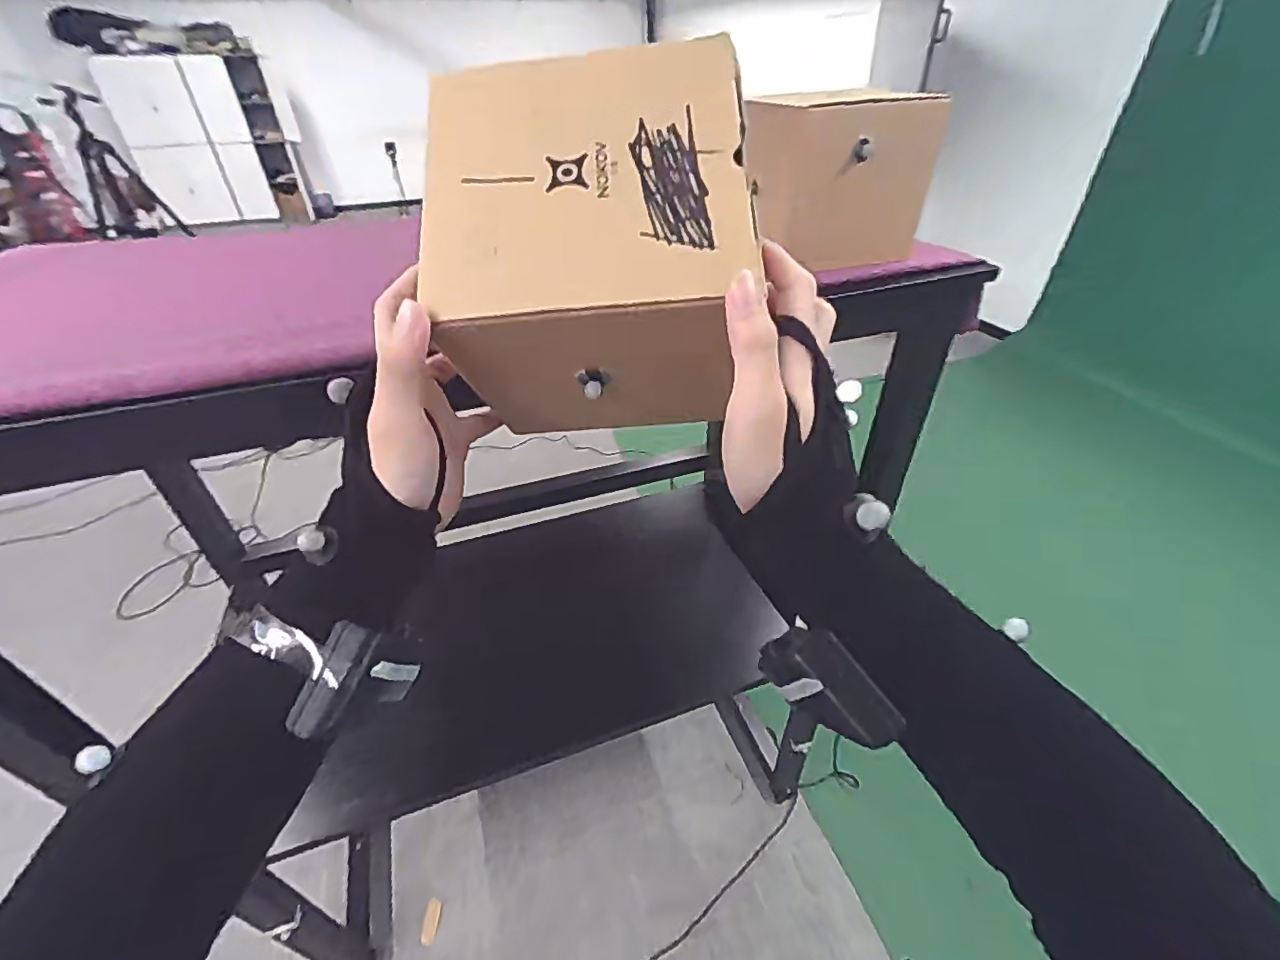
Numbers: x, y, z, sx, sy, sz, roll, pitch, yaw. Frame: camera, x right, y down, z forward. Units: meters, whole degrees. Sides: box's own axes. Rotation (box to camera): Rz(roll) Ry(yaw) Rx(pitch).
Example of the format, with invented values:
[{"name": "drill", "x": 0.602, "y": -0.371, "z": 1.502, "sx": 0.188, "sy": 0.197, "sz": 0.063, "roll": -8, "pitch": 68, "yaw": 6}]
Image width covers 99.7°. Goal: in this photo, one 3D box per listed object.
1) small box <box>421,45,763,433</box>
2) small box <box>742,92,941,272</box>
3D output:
[{"name": "small box", "x": -0.022, "y": -0.138, "z": 0.366, "sx": 0.179, "sy": 0.176, "sz": 0.168, "roll": -4, "pitch": 75, "yaw": 5}, {"name": "small box", "x": 0.219, "y": -0.364, "z": 0.660, "sx": 0.179, "sy": 0.176, "sz": 0.168, "roll": -11, "pitch": 39, "yaw": -10}]
